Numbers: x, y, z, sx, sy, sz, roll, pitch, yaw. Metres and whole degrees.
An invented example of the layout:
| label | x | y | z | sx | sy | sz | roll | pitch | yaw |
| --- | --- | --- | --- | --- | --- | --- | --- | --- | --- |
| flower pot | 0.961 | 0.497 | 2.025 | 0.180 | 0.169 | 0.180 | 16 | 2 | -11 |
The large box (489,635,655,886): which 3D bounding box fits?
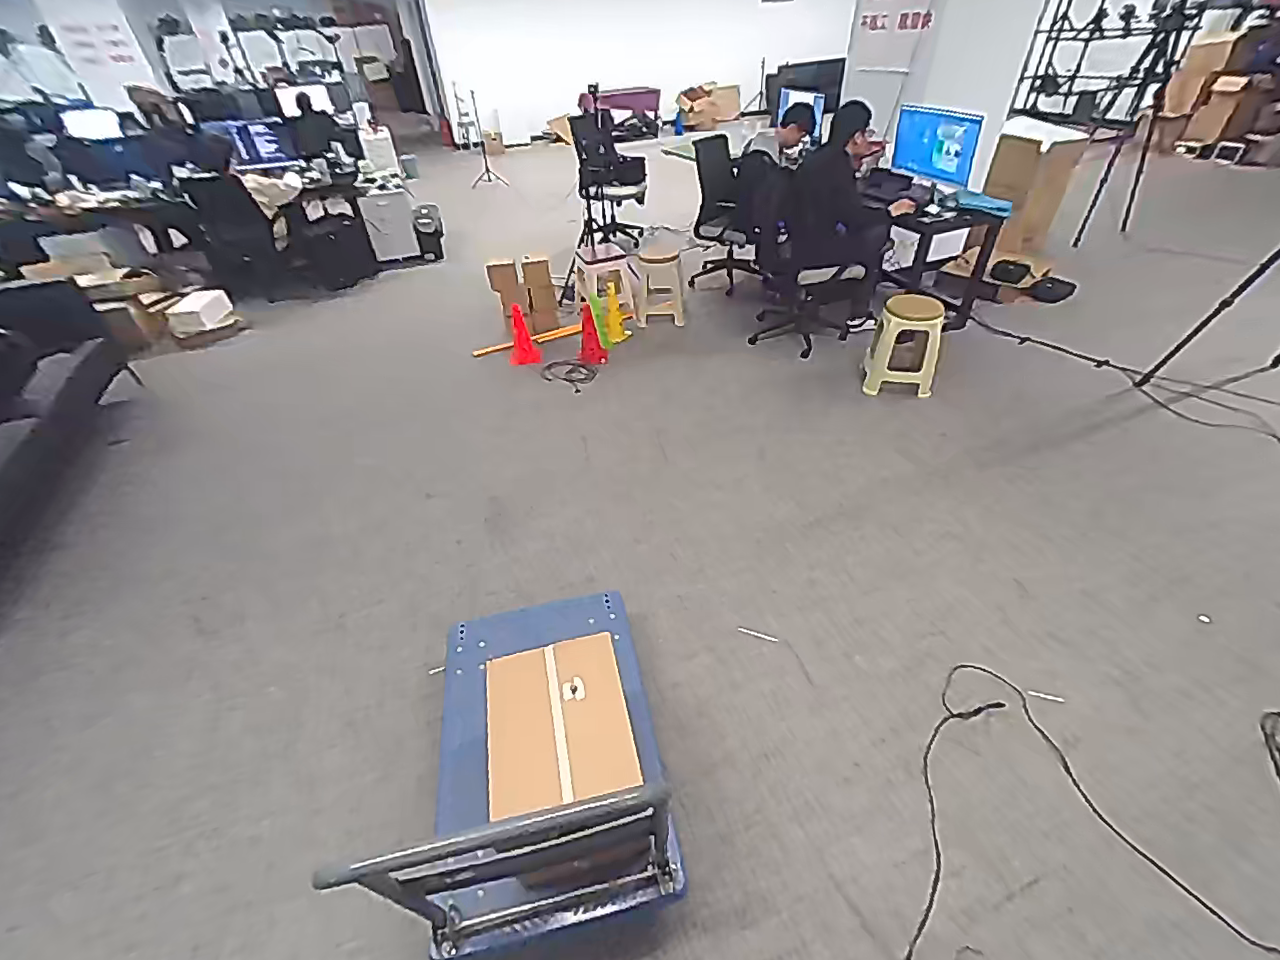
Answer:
| label | x | y | z | sx | sy | sz | roll | pitch | yaw |
| --- | --- | --- | --- | --- | --- | --- | --- | --- | --- |
| large box | -0.166 | 0.657 | 1.295 | 0.320 | 0.320 | 0.408 | -10 | 40 | -9 |
